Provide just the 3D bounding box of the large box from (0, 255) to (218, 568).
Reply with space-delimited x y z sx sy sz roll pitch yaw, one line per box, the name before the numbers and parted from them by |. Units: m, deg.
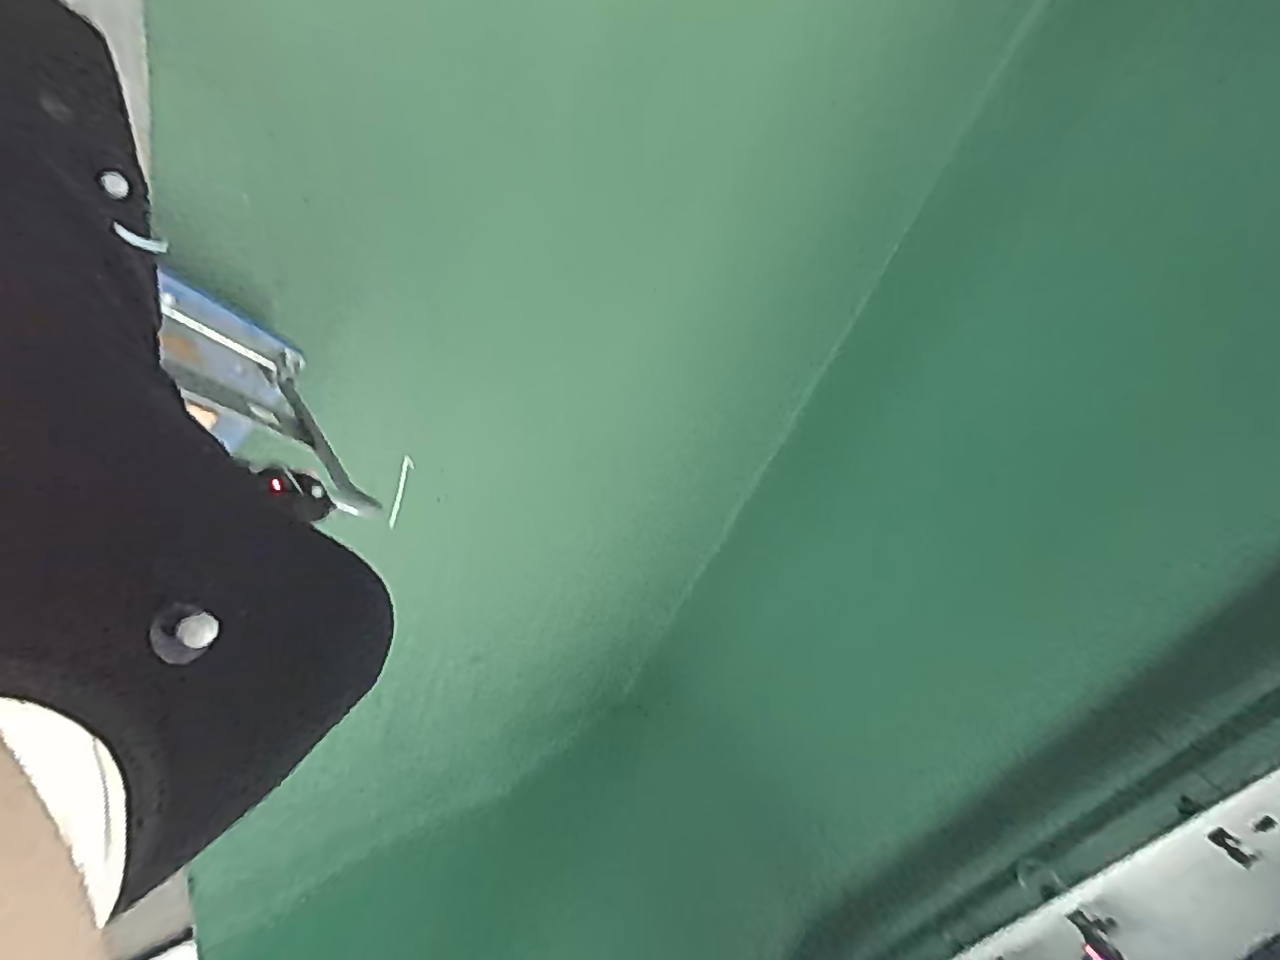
large box | -1.076 -0.112 0.984 0.408 0.320 0.320 -48 146 4
